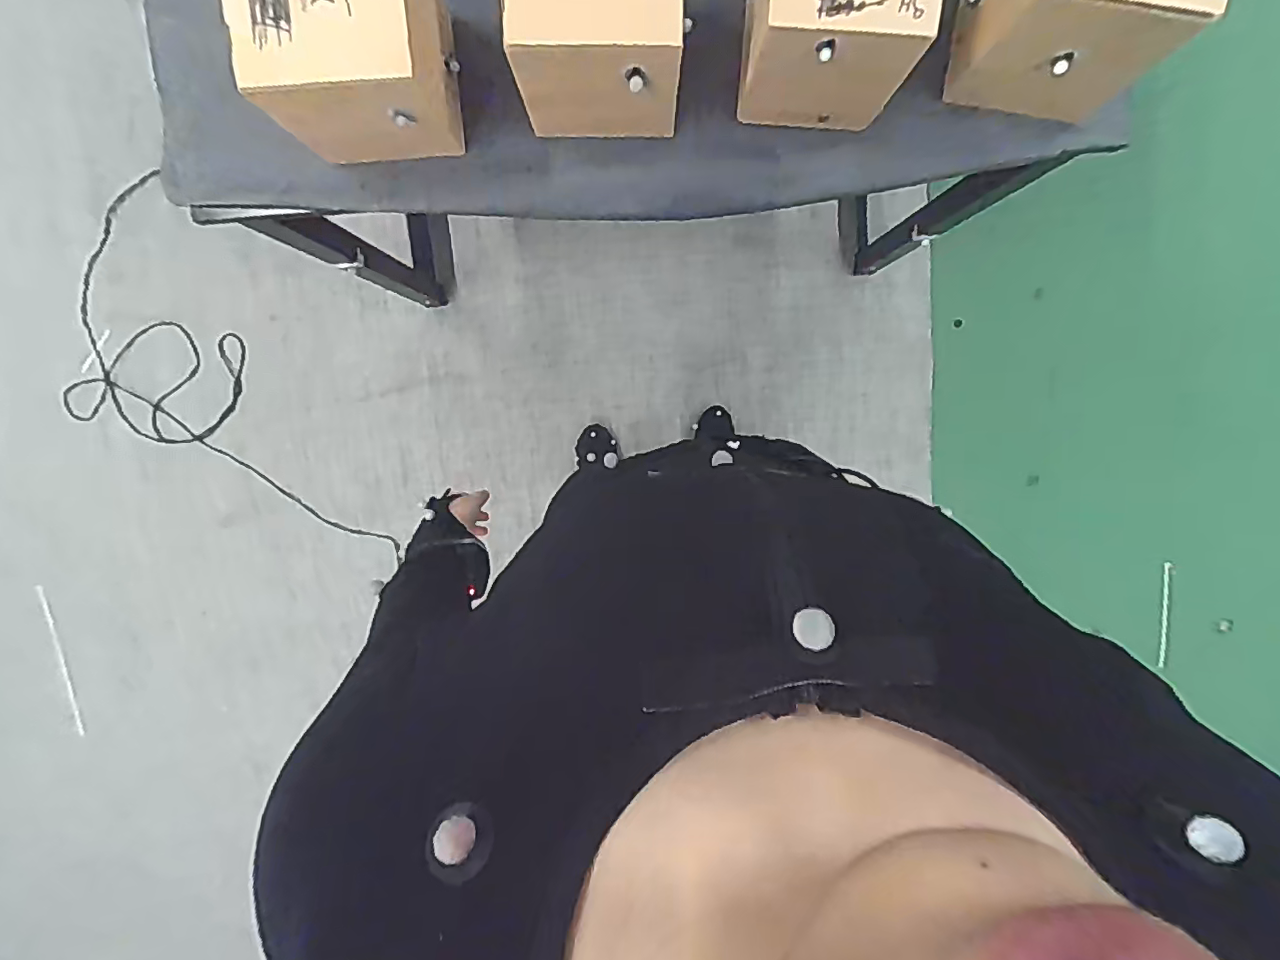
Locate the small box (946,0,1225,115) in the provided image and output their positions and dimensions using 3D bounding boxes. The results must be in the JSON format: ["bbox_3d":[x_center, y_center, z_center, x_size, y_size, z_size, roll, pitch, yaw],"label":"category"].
[{"bbox_3d":[0.469,-0.527,0.575,0.179,0.176,0.168,9,94,1],"label":"small box"}]

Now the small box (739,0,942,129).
[{"bbox_3d":[0.208,-0.521,0.582,0.168,0.176,0.179,5,96,0],"label":"small box"}]

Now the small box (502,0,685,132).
[{"bbox_3d":[-0.043,-0.506,0.586,0.179,0.176,0.168,1,96,1],"label":"small box"}]
